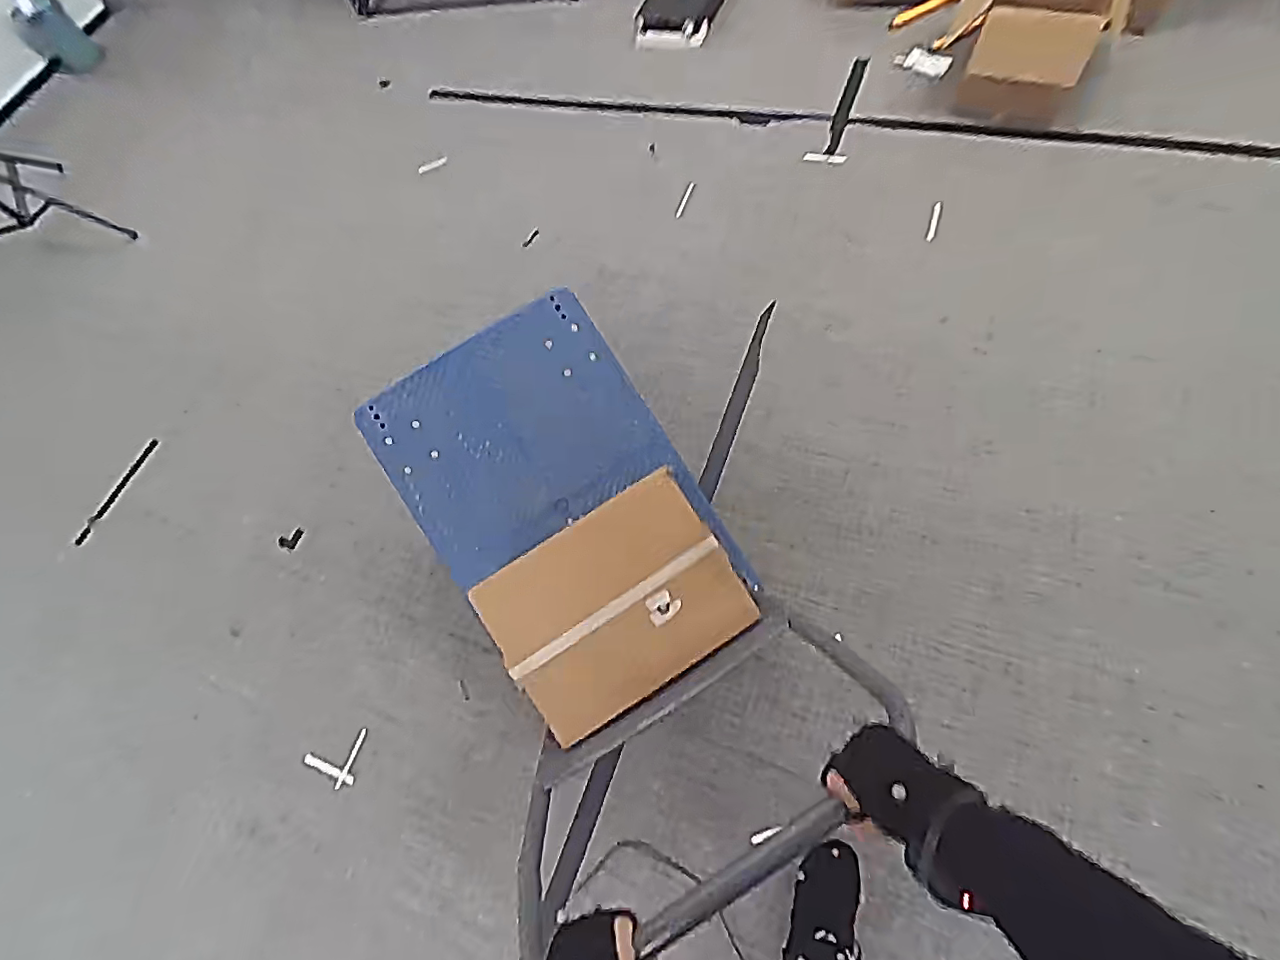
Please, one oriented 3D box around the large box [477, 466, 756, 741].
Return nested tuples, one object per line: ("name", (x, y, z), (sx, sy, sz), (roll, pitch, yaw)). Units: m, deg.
("large box", (-0.047, 0.223, 1.087), (0.408, 0.320, 0.320), (-34, 89, -5))
